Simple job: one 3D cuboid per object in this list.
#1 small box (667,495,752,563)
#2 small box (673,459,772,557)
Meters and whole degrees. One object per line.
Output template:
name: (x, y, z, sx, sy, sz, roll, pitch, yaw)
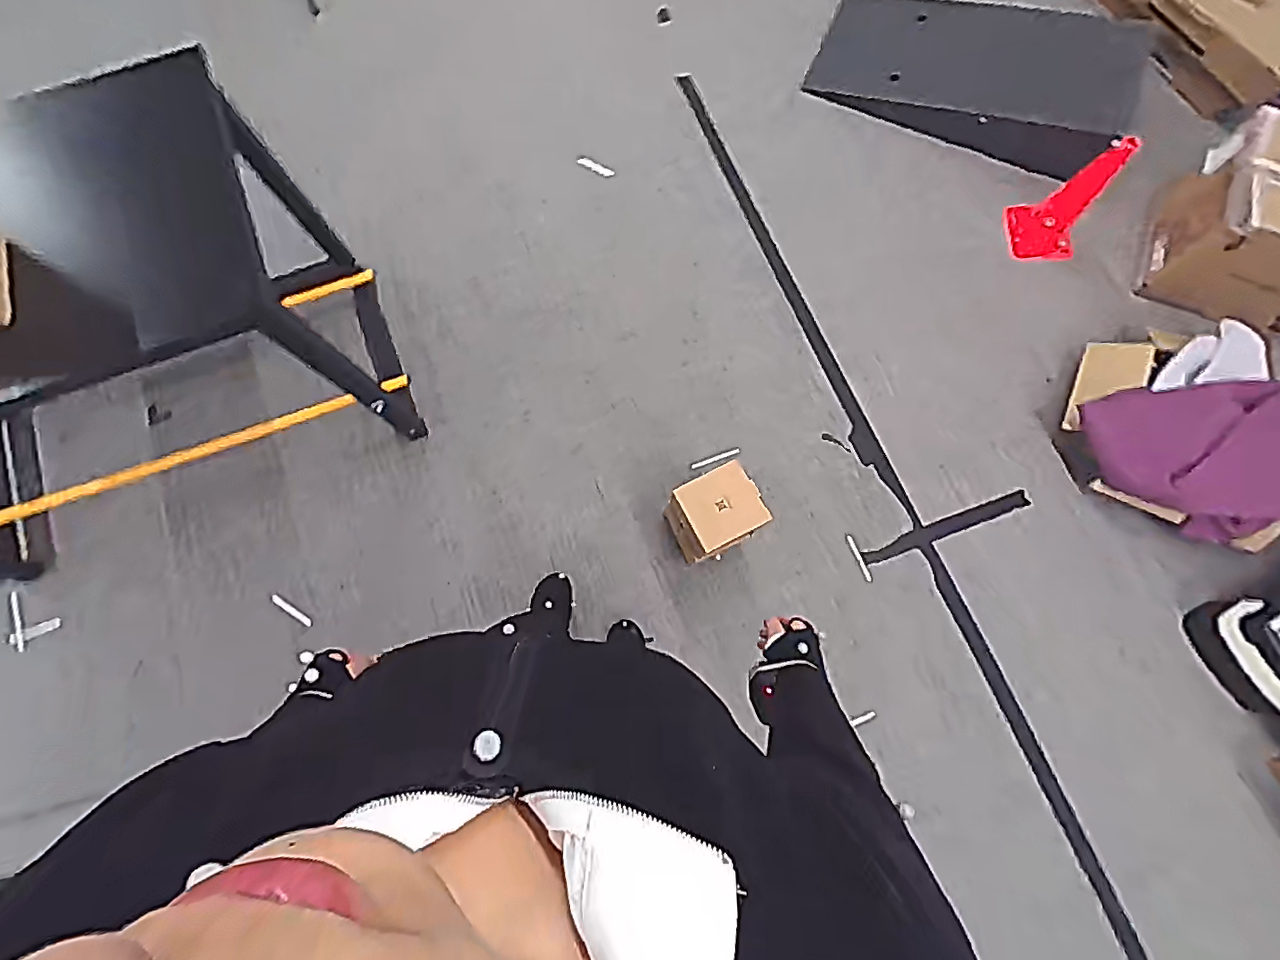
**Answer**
small box: (0.180, 0.114, 1.471, 0.168, 0.176, 0.179, -24, 79, -5)
small box: (0.190, 0.073, 1.313, 0.179, 0.176, 0.168, -27, 77, -5)
